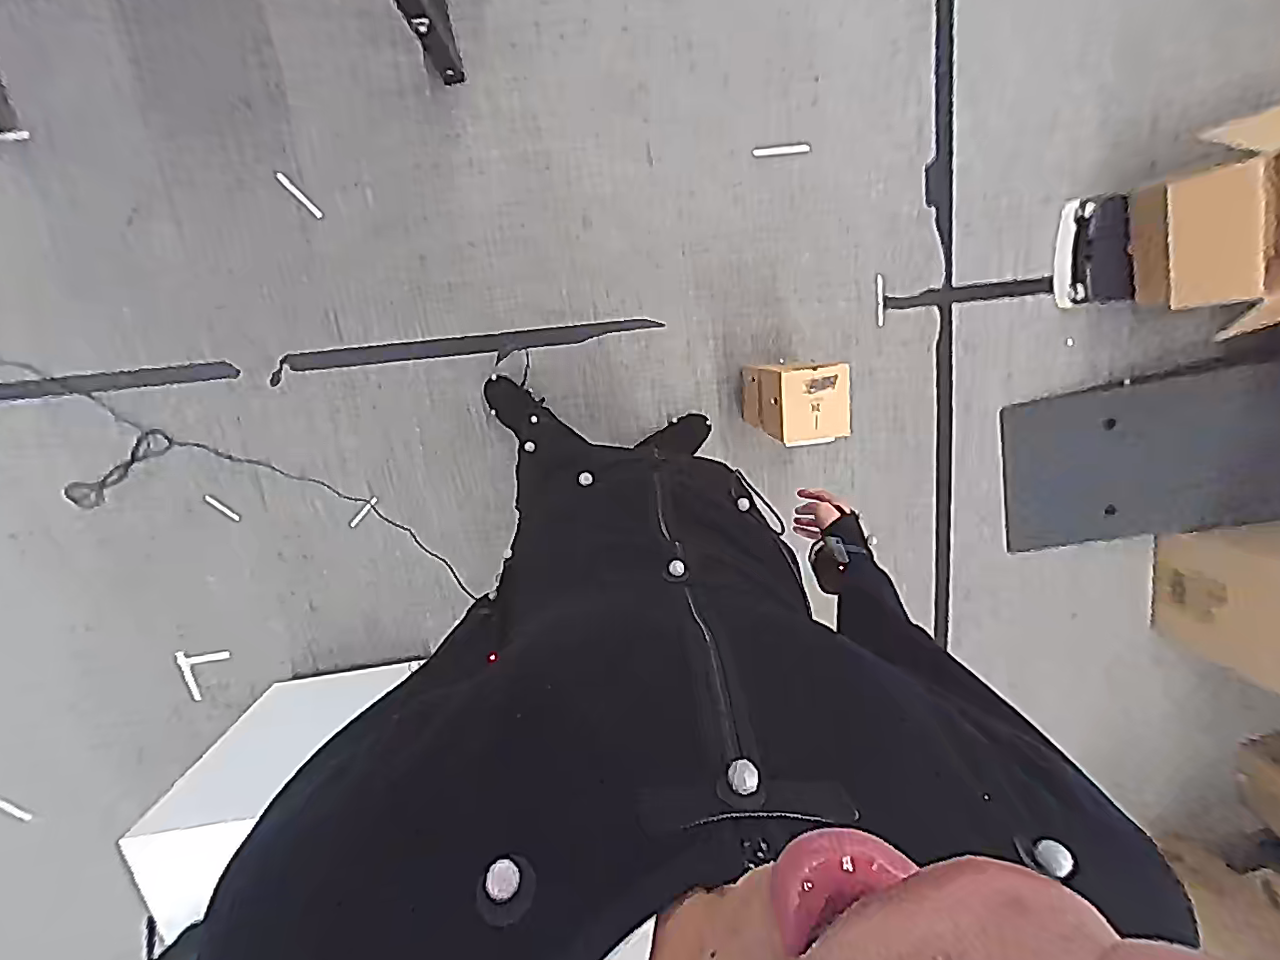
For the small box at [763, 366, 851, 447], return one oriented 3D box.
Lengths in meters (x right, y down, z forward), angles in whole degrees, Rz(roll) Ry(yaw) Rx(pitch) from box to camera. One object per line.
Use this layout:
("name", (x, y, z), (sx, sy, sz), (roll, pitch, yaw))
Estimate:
("small box", (0.411, -0.189, 1.351), (0.168, 0.176, 0.179), (-7, 105, -2))
